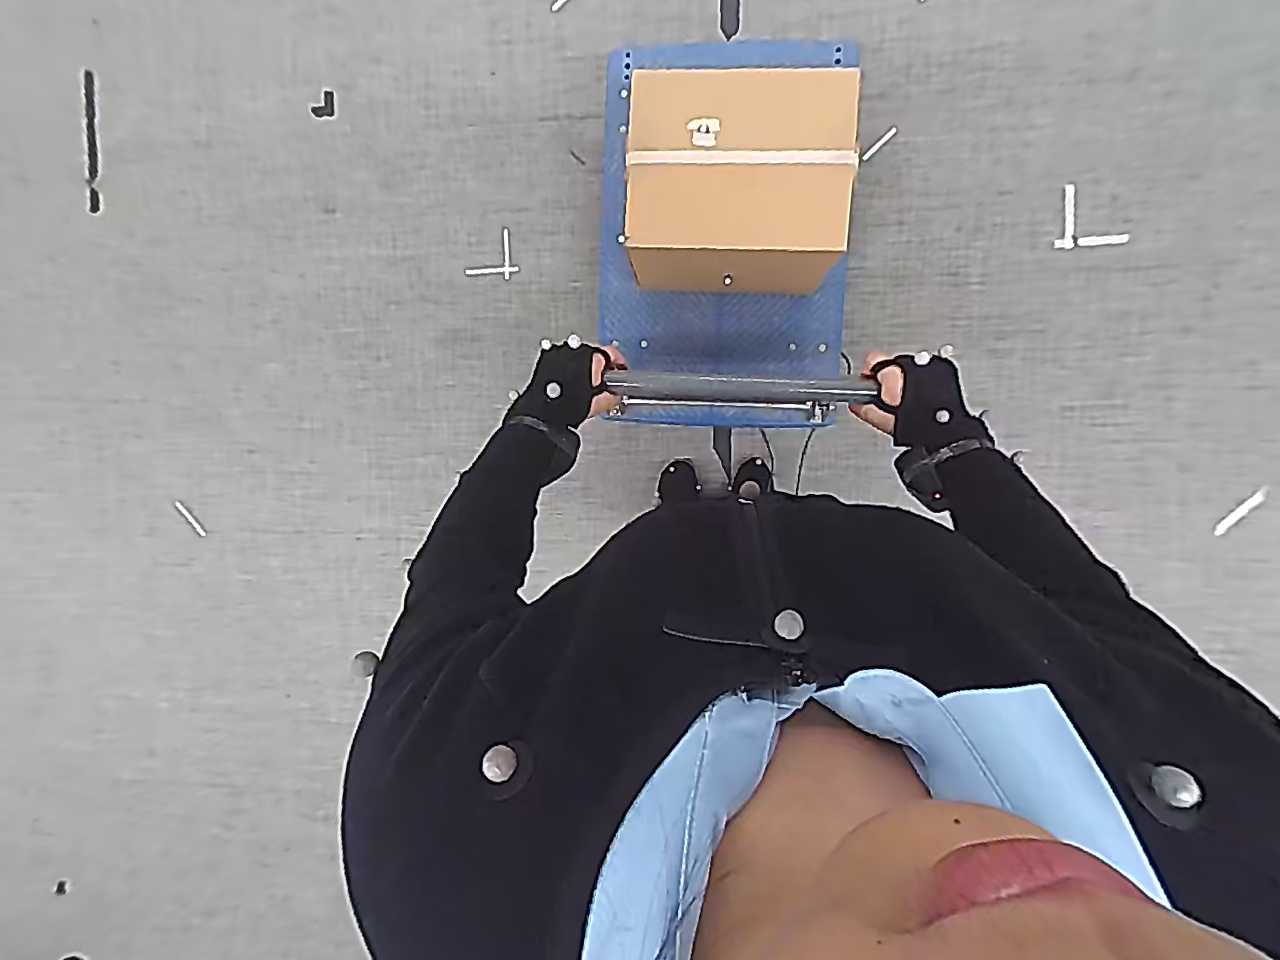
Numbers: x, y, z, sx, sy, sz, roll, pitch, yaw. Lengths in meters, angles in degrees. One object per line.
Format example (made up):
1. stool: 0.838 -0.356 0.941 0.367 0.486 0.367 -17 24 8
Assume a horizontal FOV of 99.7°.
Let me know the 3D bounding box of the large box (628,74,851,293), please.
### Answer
1. large box: 0.196 -0.590 1.144 0.408 0.320 0.320 3 94 6
